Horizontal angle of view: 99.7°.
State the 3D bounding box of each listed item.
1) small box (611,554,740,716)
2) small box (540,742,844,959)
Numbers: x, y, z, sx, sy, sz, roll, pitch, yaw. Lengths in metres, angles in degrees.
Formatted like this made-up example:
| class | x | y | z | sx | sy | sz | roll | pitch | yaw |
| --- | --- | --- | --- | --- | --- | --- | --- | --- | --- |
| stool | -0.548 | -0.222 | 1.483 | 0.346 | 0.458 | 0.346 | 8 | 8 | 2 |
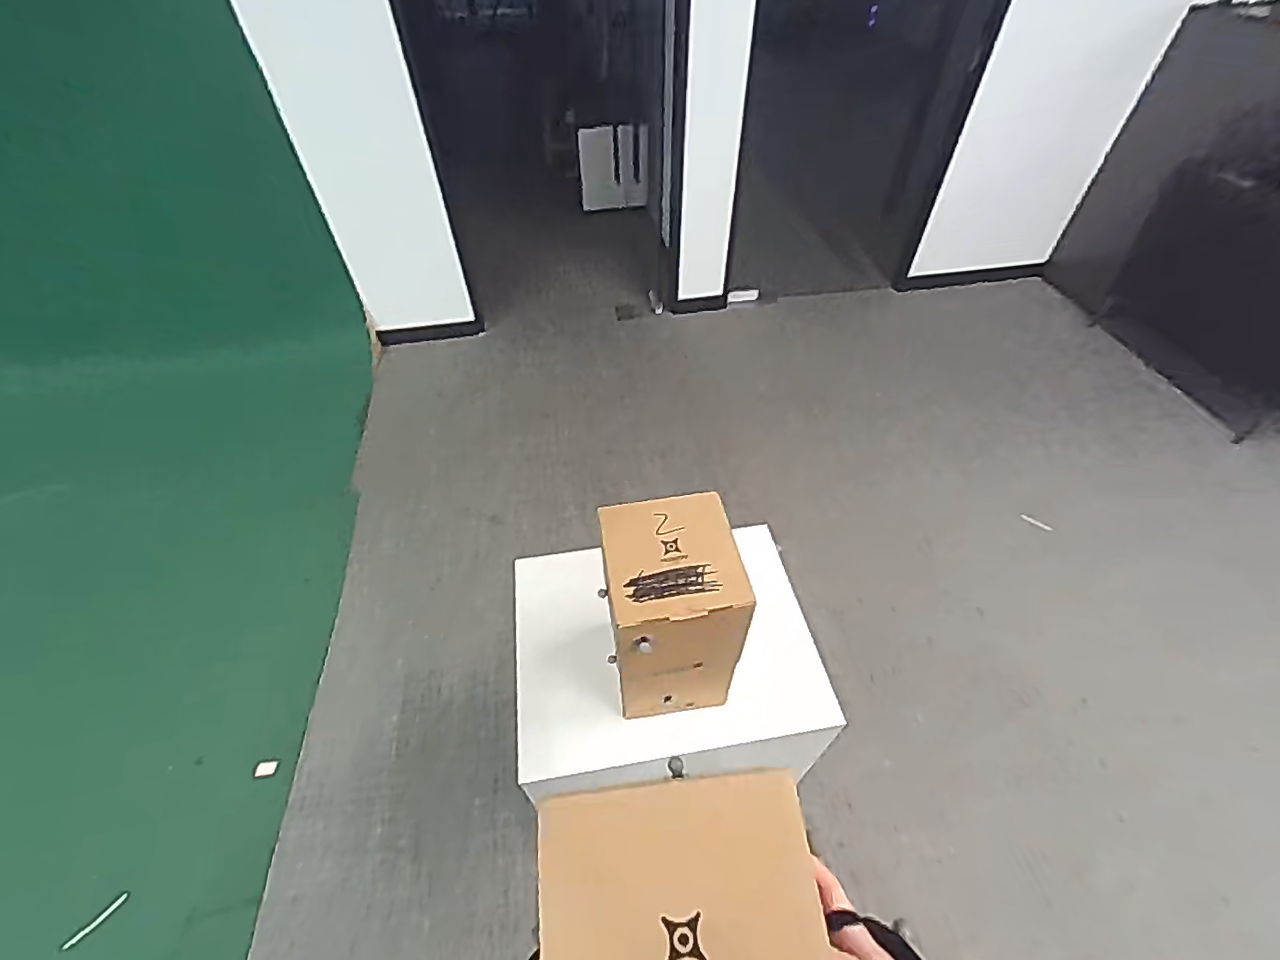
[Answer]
| class | x | y | z | sx | sy | sz | roll | pitch | yaw |
| --- | --- | --- | --- | --- | --- | --- | --- | --- | --- |
| small box | 0.045 | 0.241 | 0.843 | 0.168 | 0.176 | 0.179 | -7 | 47 | -5 |
| small box | 0.033 | 0.288 | 0.368 | 0.168 | 0.176 | 0.179 | -9 | 62 | 2 |
